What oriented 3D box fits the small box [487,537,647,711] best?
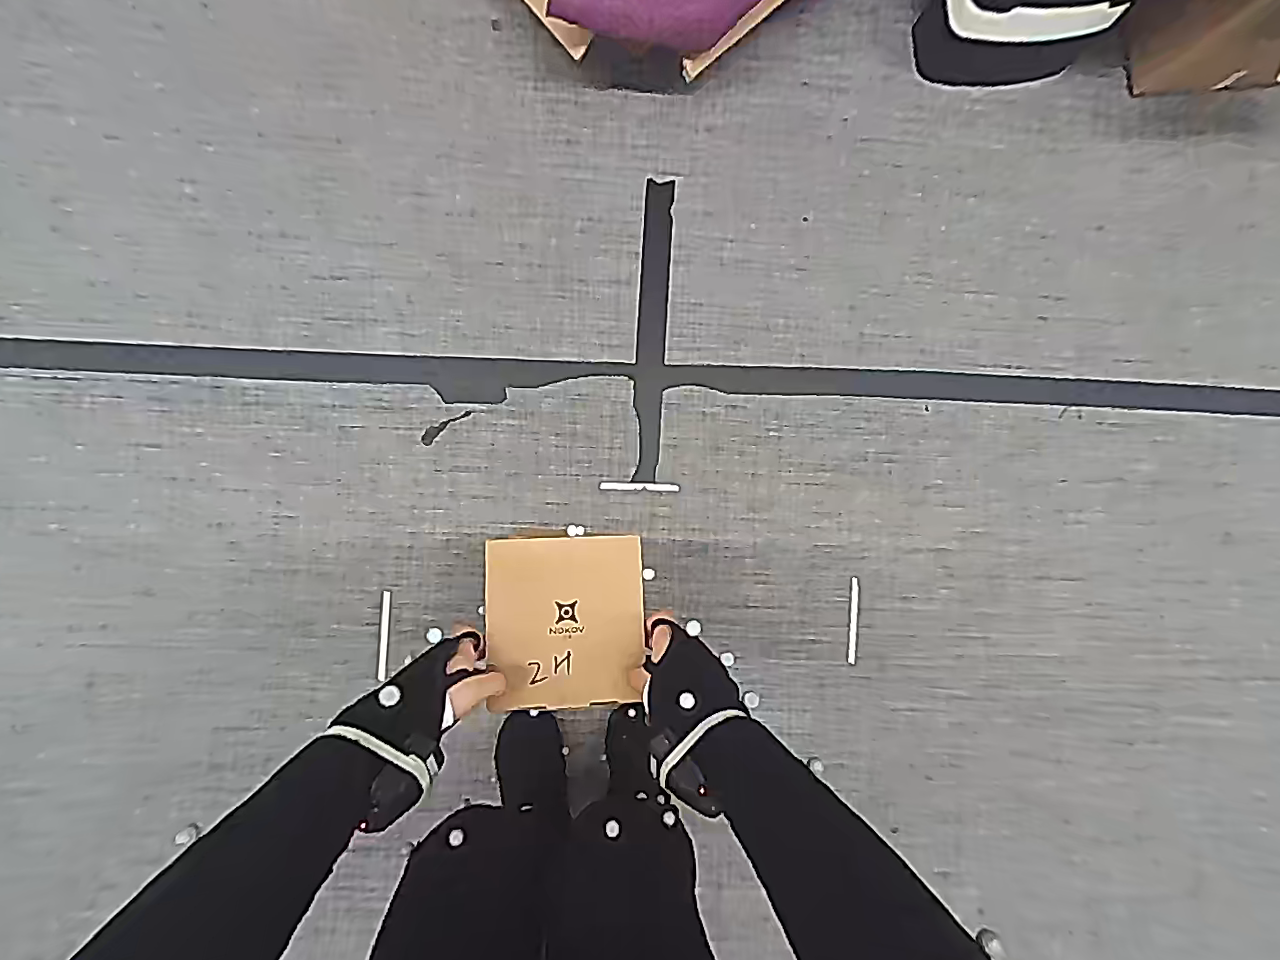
[{"bbox_3d":[-0.083,0.159,0.645,0.168,0.176,0.179,-1,83,-5],"label":"small box"}]
